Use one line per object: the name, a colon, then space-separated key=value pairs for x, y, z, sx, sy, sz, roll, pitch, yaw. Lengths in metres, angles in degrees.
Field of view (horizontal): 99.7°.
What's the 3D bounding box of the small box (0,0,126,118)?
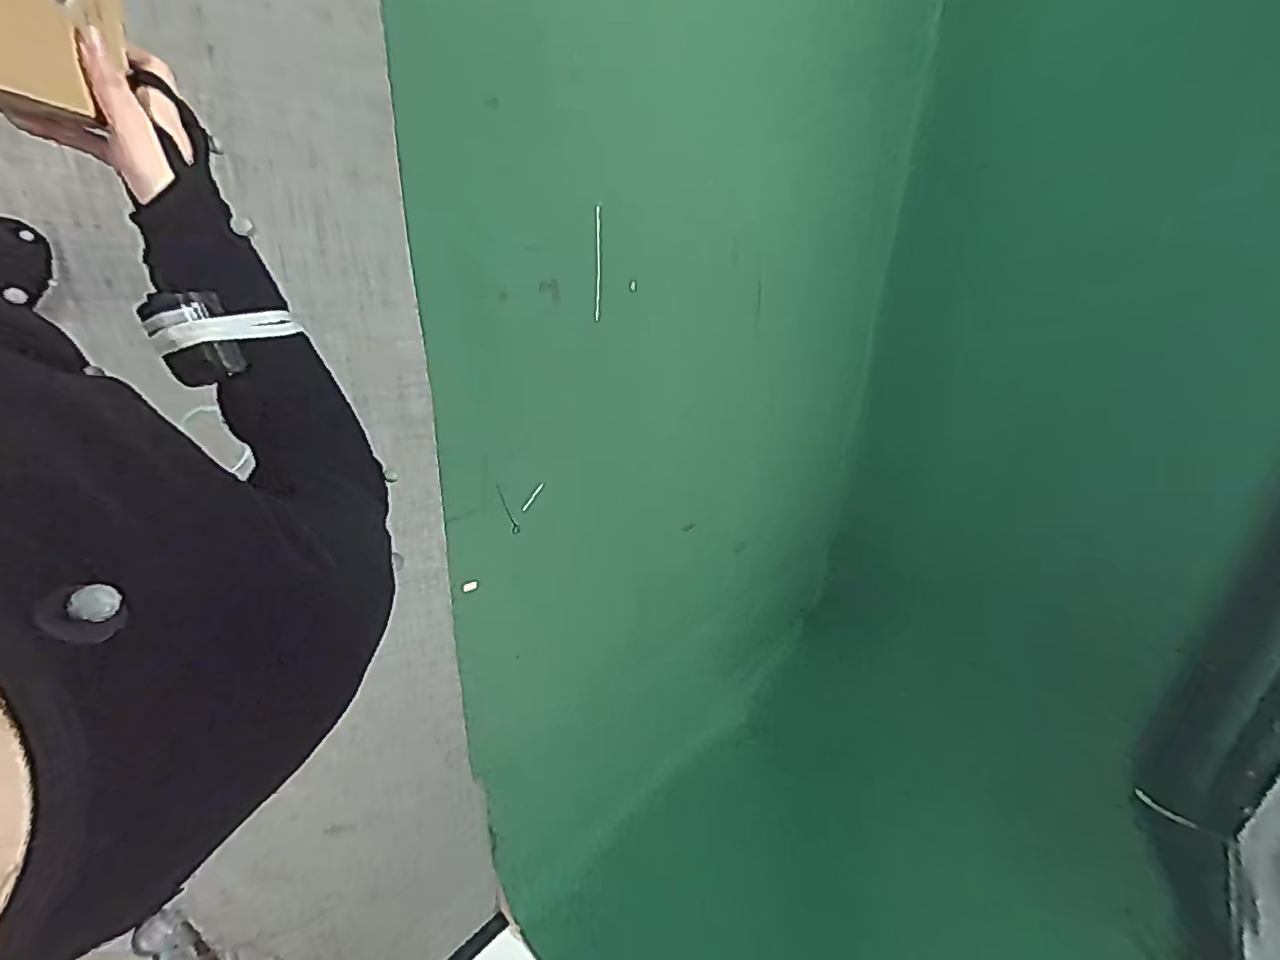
small box: x=-0.417 y=-0.297 z=0.259 sx=0.179 sy=0.176 sz=0.168 roll=2 pitch=112 yaw=-13
